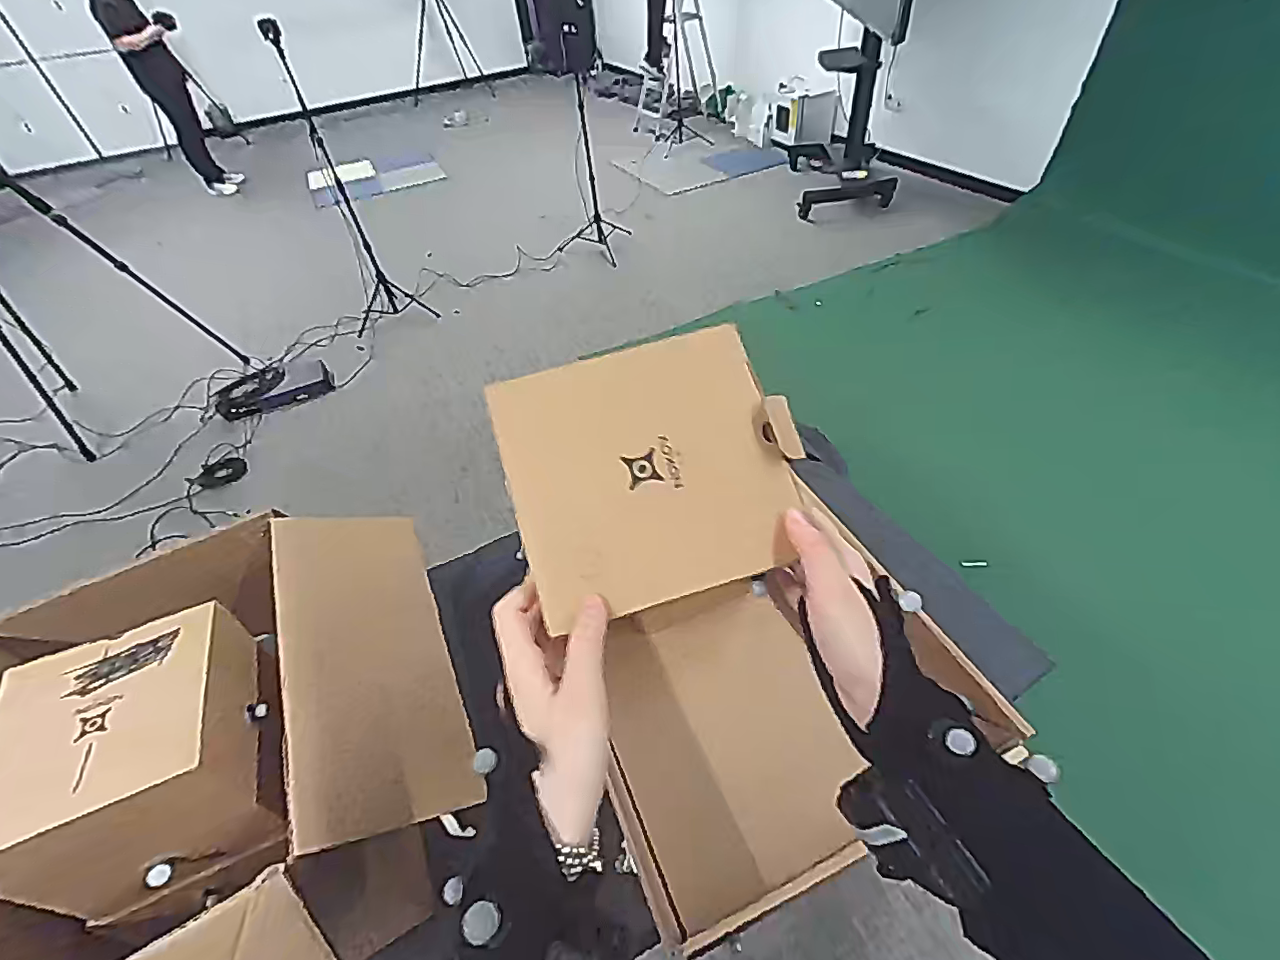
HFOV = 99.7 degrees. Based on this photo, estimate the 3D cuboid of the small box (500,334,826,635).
[{"bbox_3d":[0.010,0.018,0.423,0.179,0.176,0.168,-16,76,-7],"label":"small box"}]
